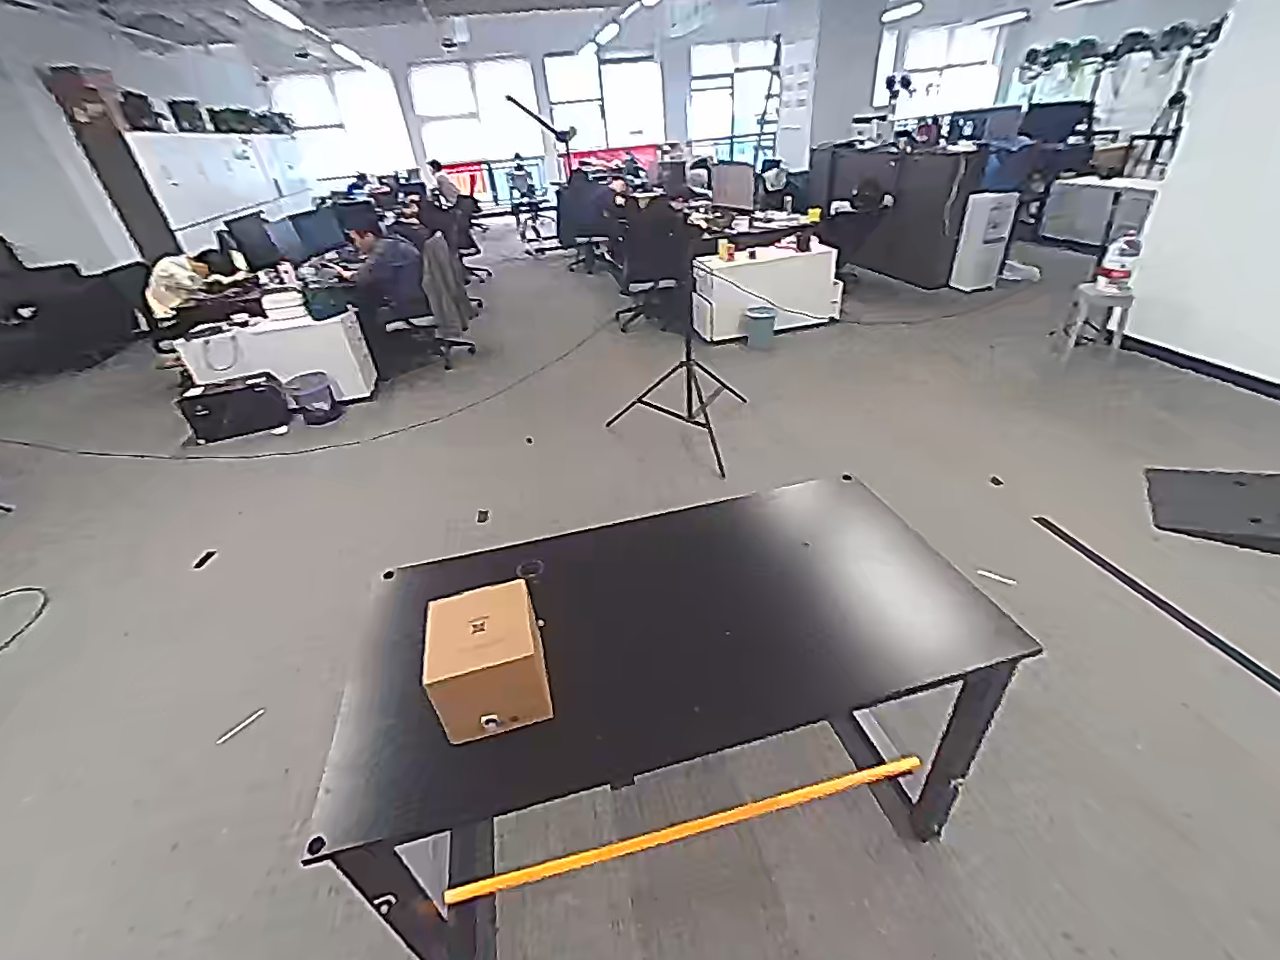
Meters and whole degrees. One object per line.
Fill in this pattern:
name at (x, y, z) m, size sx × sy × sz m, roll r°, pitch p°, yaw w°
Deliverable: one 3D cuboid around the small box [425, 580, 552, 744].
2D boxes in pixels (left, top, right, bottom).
small box at (-0.252, 0.305, 0.916) m, size 0.168 × 0.176 × 0.179 m, roll -14°, pitch 35°, yaw -10°
